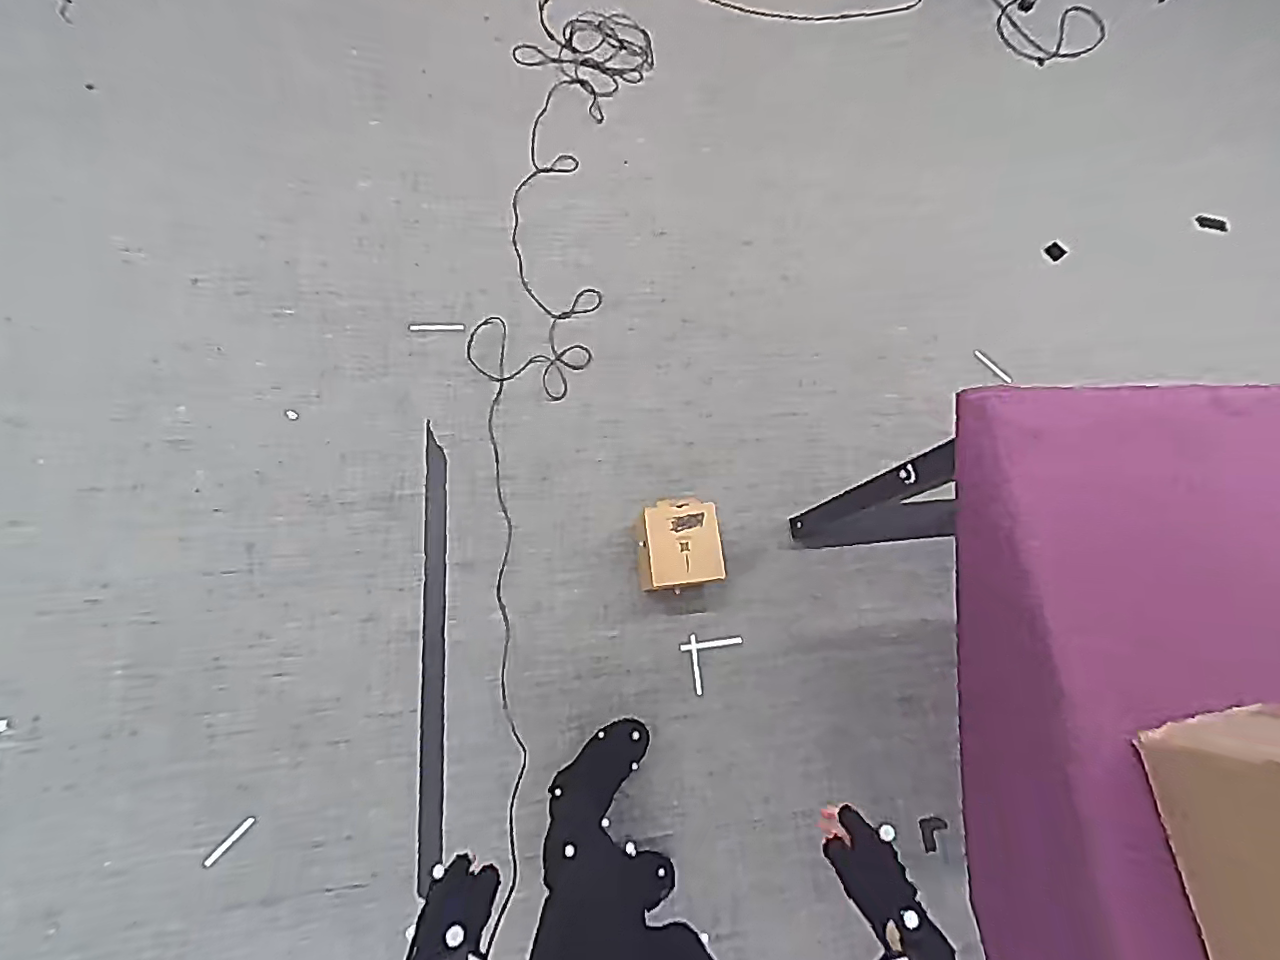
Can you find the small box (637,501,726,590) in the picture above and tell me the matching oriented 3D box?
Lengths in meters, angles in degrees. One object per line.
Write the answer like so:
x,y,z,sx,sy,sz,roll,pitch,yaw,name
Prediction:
0.089,0.158,1.268,0.168,0.176,0.179,-5,76,-9,small box
